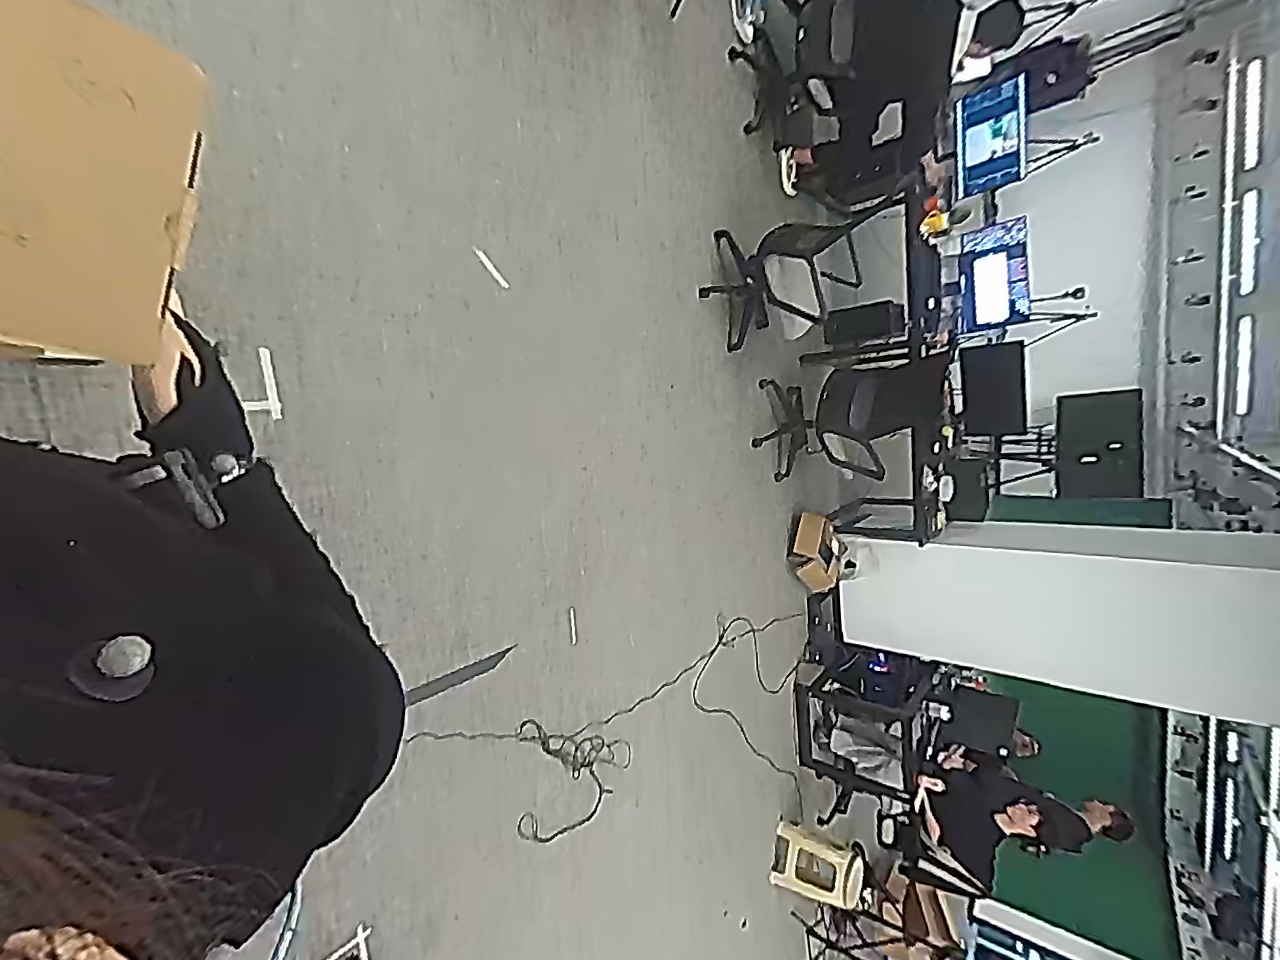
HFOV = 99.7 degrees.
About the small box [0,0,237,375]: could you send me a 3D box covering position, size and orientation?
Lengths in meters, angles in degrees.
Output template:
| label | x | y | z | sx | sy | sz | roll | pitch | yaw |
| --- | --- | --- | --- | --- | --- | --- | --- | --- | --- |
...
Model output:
| label | x | y | z | sx | sy | sz | roll | pitch | yaw |
| --- | --- | --- | --- | --- | --- | --- | --- | --- | --- |
| small box | -0.354 | -0.173 | 0.283 | 0.179 | 0.176 | 0.168 | 8 | 106 | -52 |
